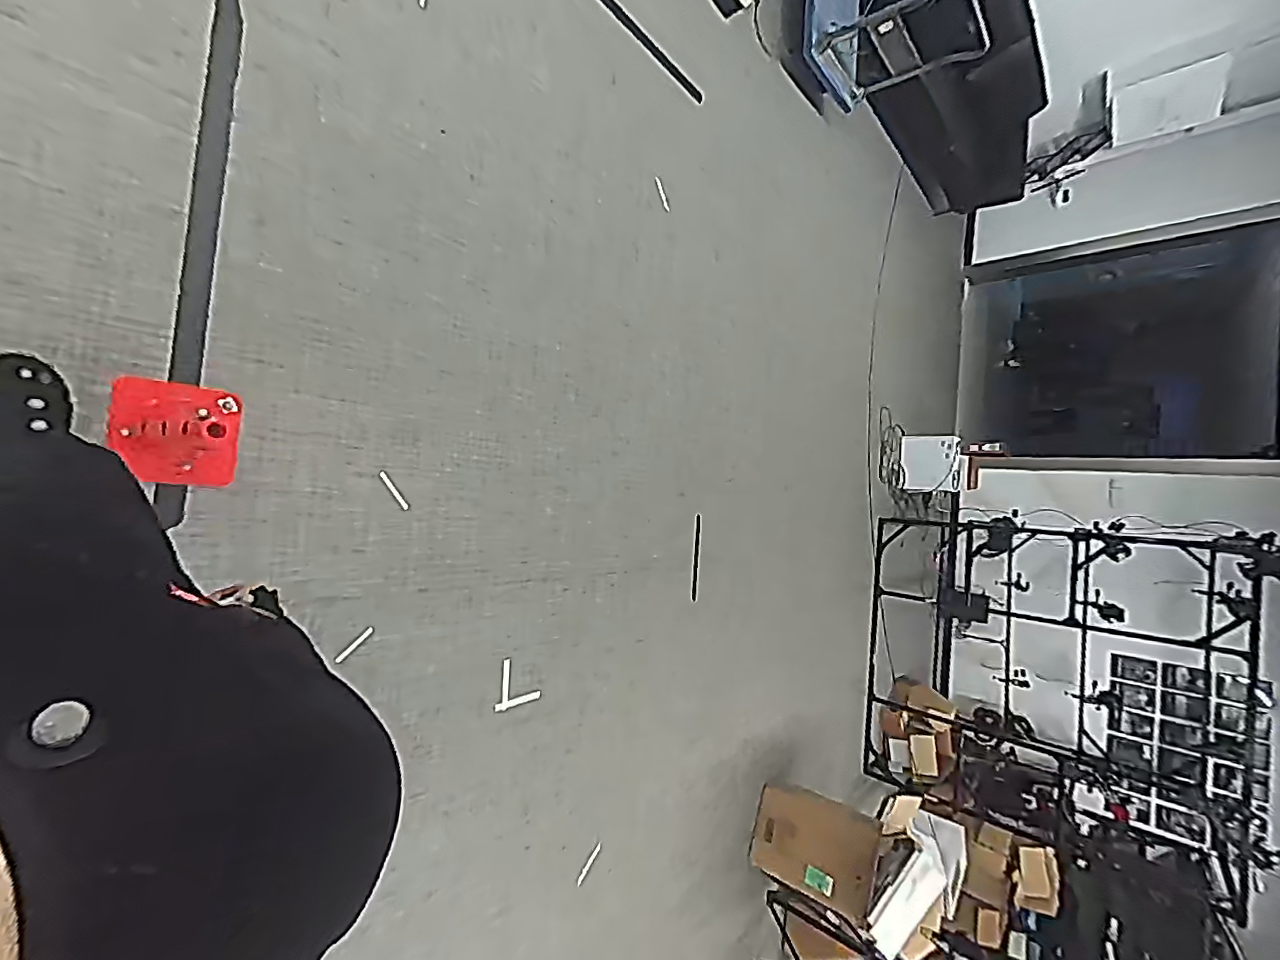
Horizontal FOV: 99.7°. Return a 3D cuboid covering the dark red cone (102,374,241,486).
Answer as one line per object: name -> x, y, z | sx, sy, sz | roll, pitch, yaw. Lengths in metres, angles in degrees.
dark red cone -> -0.787, -0.083, 0.946 | 0.201, 0.394, 0.202 | 6, 88, -48
